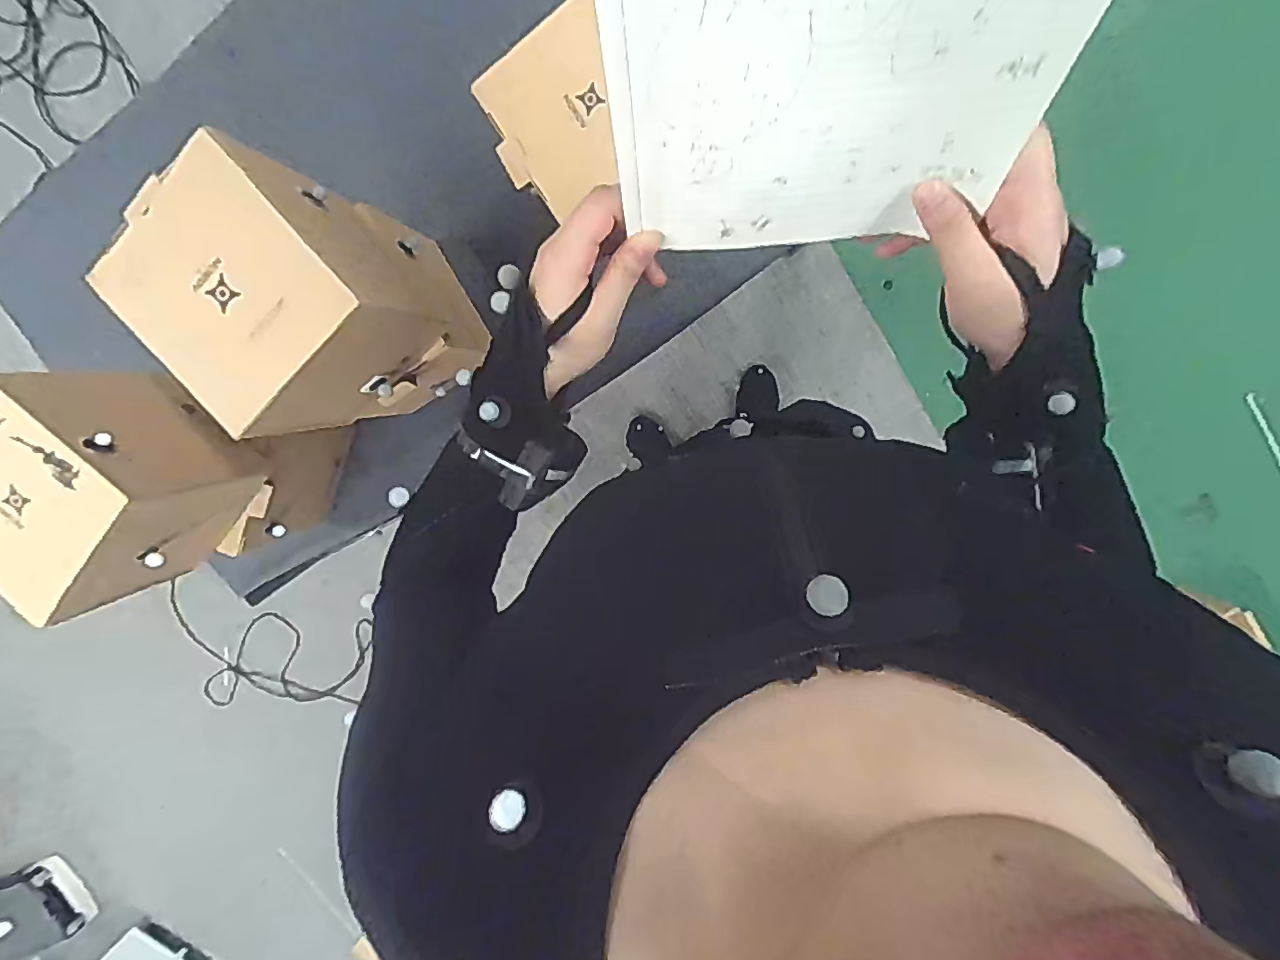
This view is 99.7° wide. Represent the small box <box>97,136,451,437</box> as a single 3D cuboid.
[{"bbox_3d":[-0.320,-0.162,0.509,0.168,0.176,0.179,-41,94,13],"label":"small box"}]

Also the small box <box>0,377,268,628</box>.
[{"bbox_3d":[-0.544,0.012,0.565,0.168,0.176,0.179,42,103,-3],"label":"small box"}]

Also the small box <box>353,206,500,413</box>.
[{"bbox_3d":[-0.306,-0.191,0.668,0.168,0.176,0.179,-30,96,11],"label":"small box"}]

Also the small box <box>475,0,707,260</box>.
[{"bbox_3d":[-0.042,-0.379,0.604,0.179,0.176,0.168,-34,95,12],"label":"small box"}]
